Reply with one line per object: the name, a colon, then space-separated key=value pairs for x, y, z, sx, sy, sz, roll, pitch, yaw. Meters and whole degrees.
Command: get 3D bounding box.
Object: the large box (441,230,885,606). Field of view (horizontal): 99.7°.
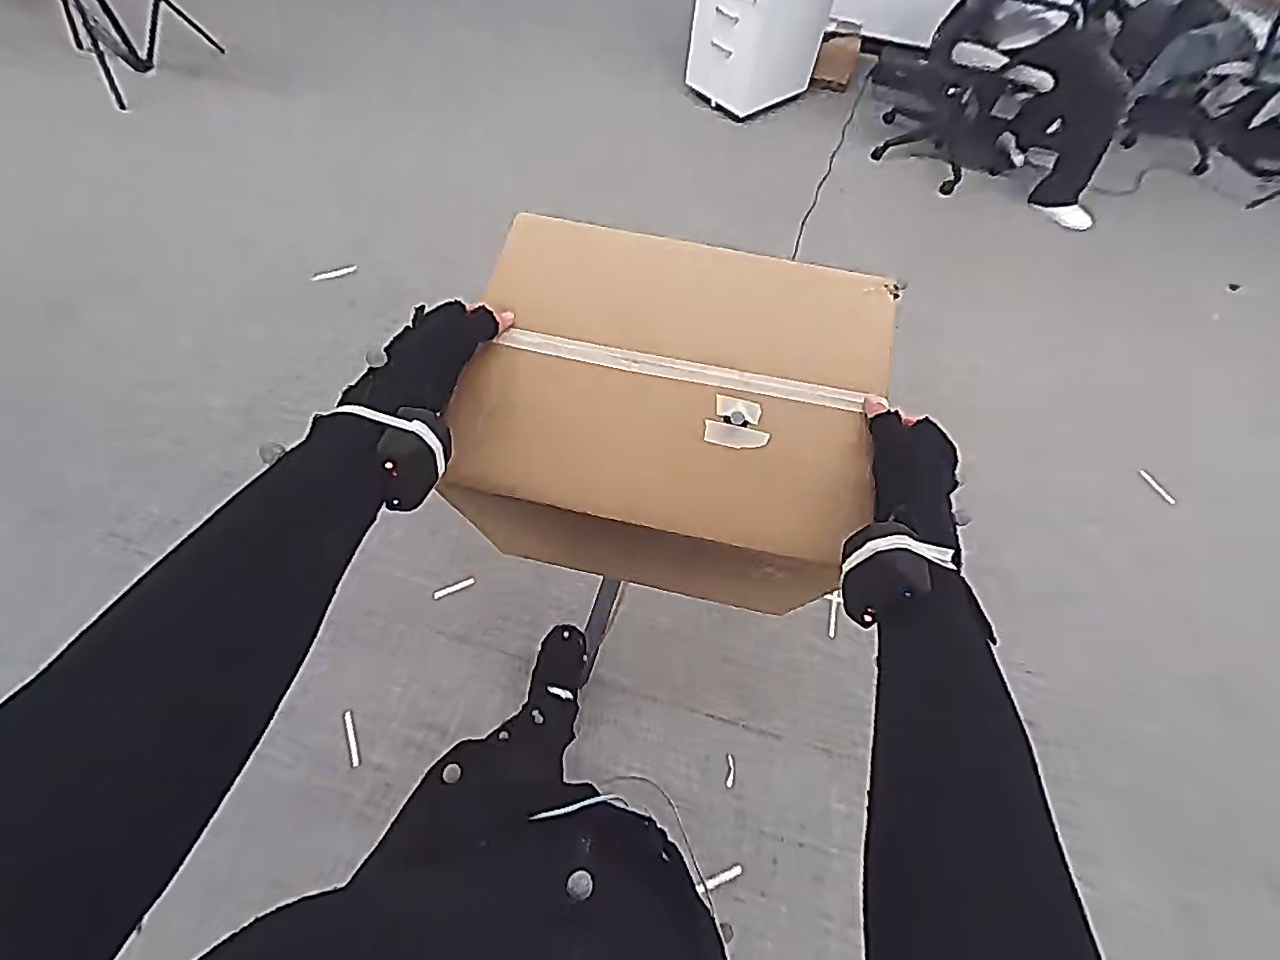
large box: x=0.034 y=-0.051 z=0.678 sx=0.408 sy=0.320 sz=0.320 roll=12 pitch=71 yaw=4
